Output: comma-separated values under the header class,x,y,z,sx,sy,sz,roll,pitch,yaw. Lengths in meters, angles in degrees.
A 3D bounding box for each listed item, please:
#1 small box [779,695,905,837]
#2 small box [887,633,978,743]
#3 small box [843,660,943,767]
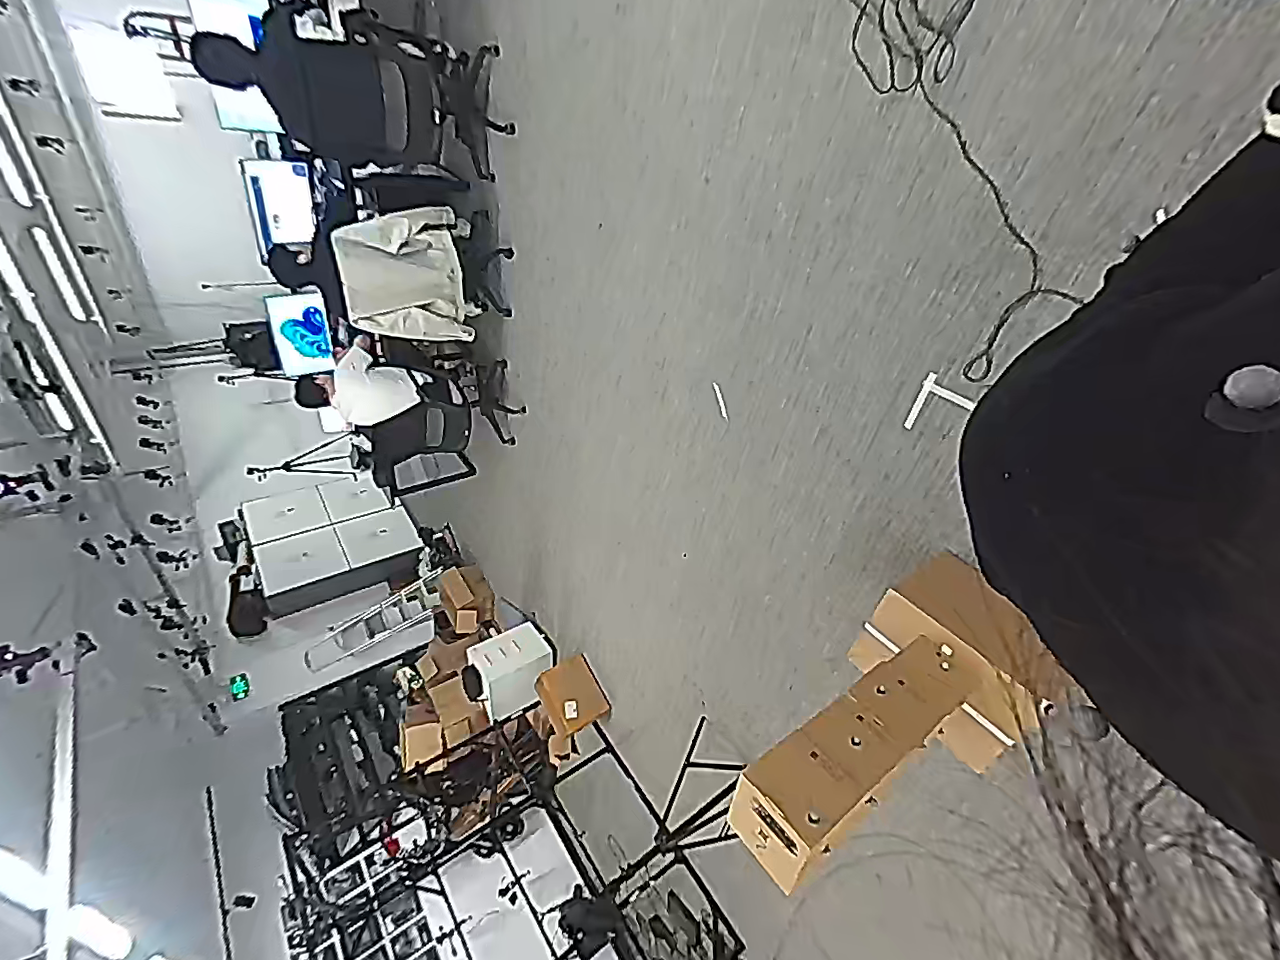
class,x,y,z,sx,sy,sz,roll,pitch,yaw
small box,0.431,0.598,1.151,0.168,0.176,0.179,38,134,42
small box,0.690,0.515,1.332,0.168,0.176,0.179,42,136,37
small box,0.560,0.551,1.243,0.168,0.176,0.179,42,137,39
